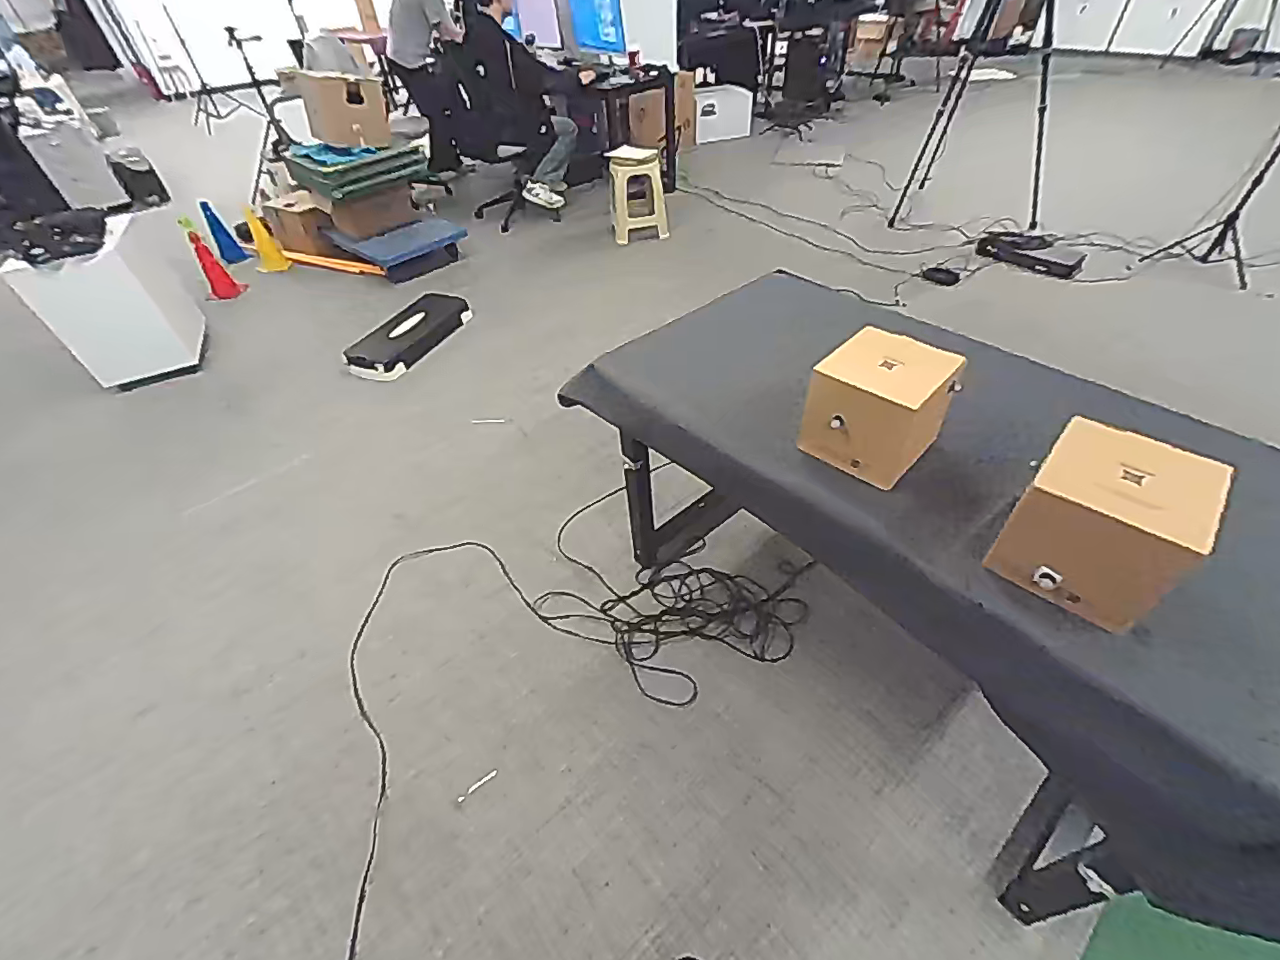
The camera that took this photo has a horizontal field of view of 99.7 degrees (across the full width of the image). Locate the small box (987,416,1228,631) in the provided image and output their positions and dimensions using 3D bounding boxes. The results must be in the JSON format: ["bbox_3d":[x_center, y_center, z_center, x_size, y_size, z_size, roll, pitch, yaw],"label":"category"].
[{"bbox_3d":[0.583,0.053,0.693,0.168,0.176,0.179,31,55,32],"label":"small box"}]

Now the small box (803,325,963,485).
[{"bbox_3d":[0.385,-0.121,0.883,0.168,0.176,0.179,33,55,32],"label":"small box"}]
